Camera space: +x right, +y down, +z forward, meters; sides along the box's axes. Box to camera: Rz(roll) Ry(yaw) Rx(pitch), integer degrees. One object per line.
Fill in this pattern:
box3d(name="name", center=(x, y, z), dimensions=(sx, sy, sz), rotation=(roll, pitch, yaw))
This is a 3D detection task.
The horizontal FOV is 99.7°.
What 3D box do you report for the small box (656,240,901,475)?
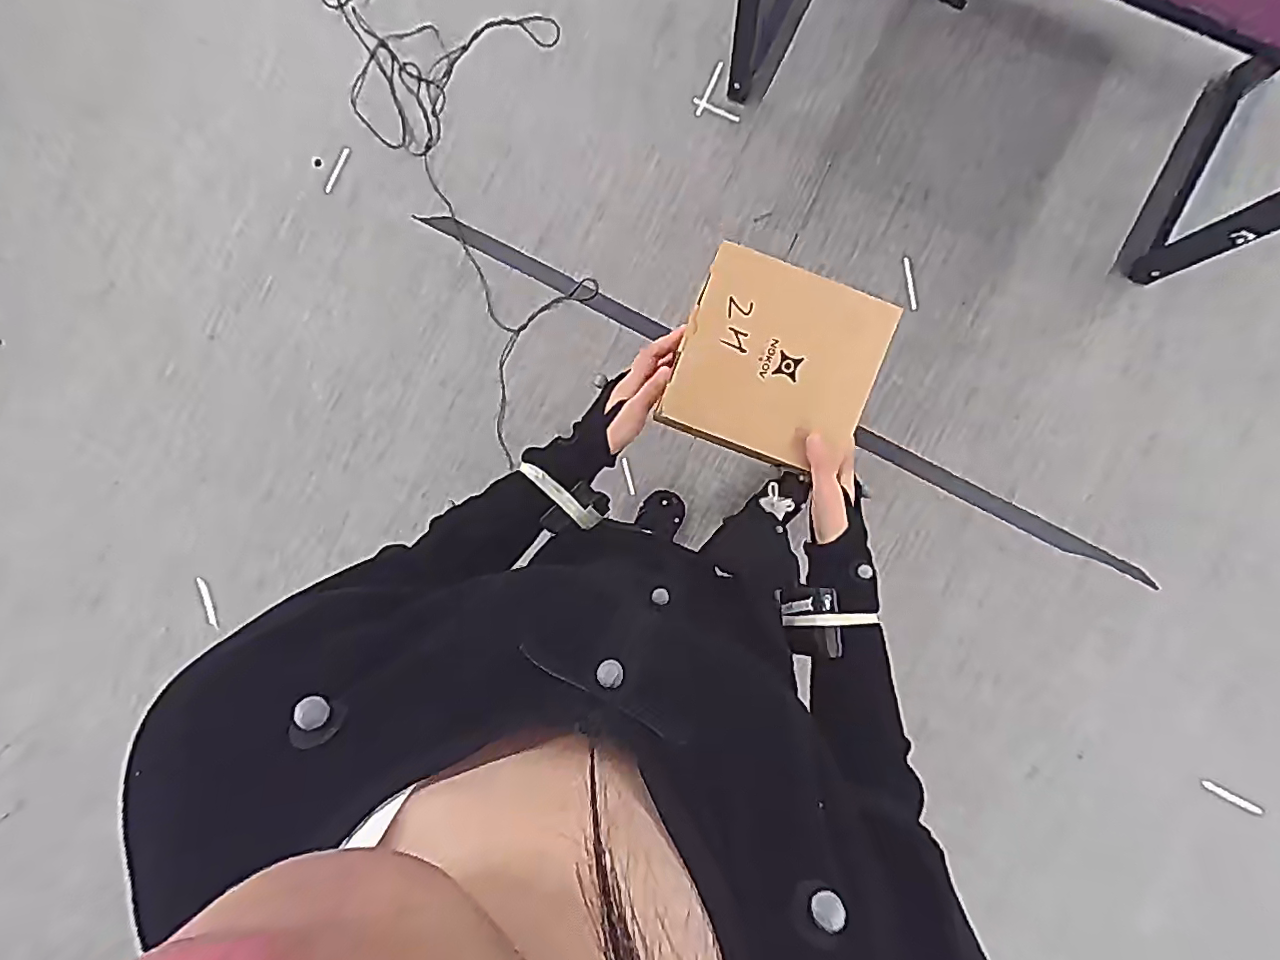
box3d(name="small box", center=(0.126, -0.116, 0.568), dimensions=(0.179, 0.176, 0.168), rotation=(21, 94, -2))
